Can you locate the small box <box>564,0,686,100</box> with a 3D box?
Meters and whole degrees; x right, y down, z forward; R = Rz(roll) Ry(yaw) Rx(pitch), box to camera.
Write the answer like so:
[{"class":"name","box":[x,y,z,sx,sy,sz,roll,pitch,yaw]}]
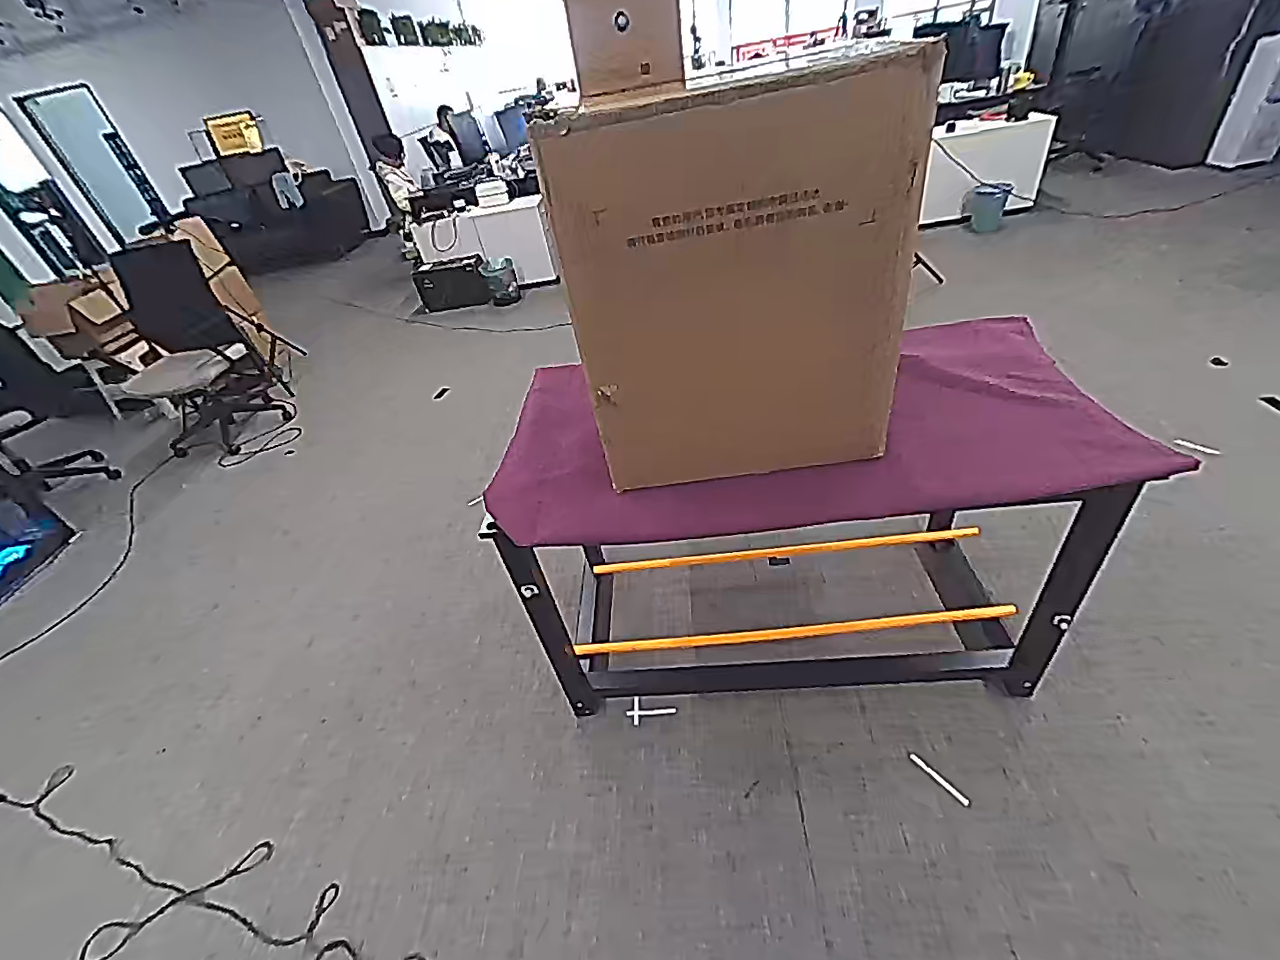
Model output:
[{"class":"small box","box":[-0.027,-0.705,0.840,0.168,0.176,0.179,-10,38,-1]}]
